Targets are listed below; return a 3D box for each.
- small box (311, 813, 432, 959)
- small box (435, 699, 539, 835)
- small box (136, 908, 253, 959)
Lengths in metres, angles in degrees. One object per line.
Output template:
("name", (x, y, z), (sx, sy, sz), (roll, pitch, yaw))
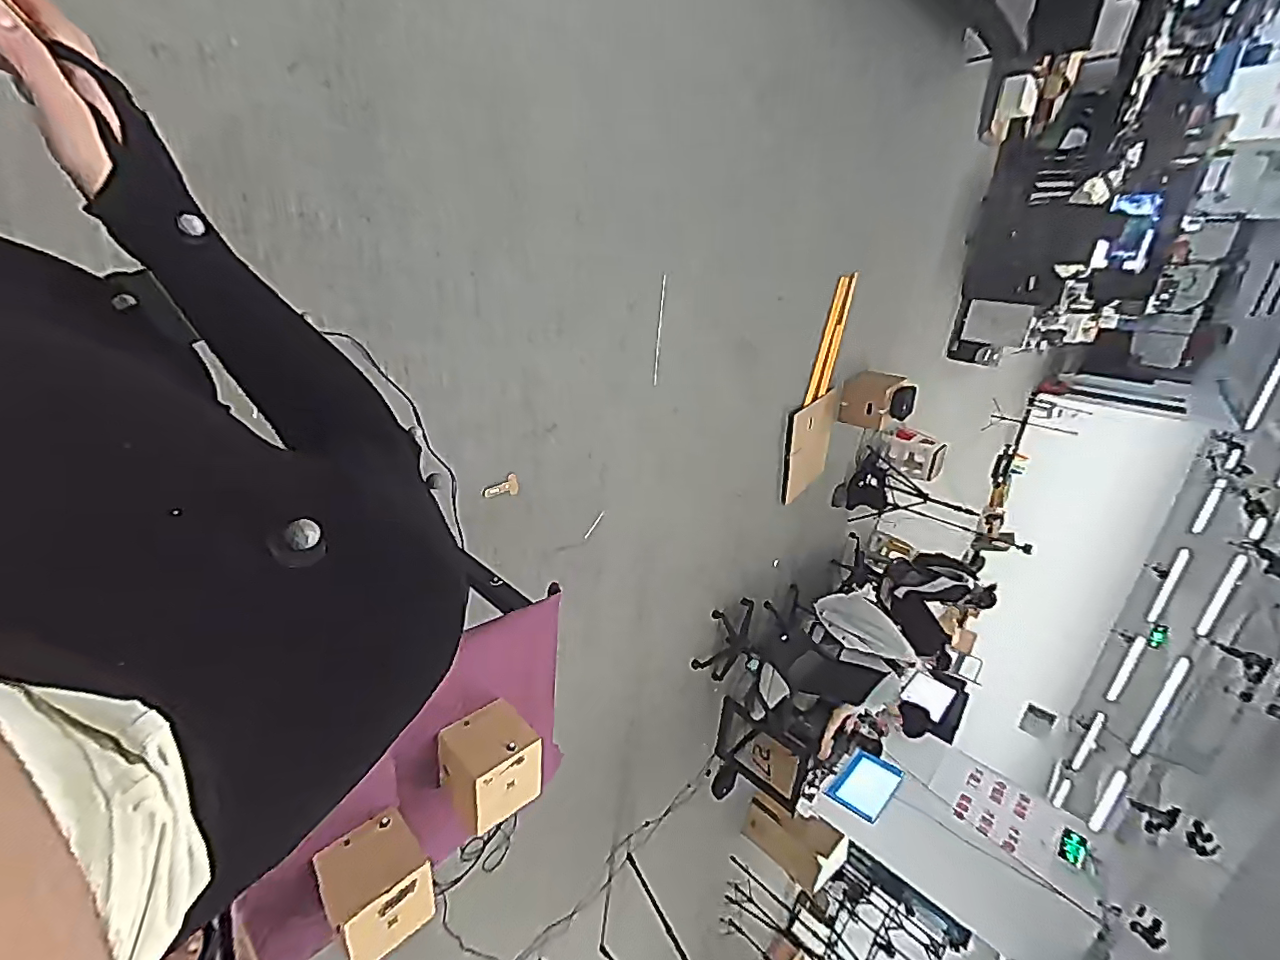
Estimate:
("small box", (-0.545, 0.822, 1.099), (0.168, 0.176, 0.179), (-18, 122, -44))
("small box", (-0.350, 0.644, 1.233), (0.168, 0.176, 0.179), (-17, 121, -45))
("small box", (-0.741, 0.881, 0.901), (0.168, 0.176, 0.179), (-19, 121, -44))
